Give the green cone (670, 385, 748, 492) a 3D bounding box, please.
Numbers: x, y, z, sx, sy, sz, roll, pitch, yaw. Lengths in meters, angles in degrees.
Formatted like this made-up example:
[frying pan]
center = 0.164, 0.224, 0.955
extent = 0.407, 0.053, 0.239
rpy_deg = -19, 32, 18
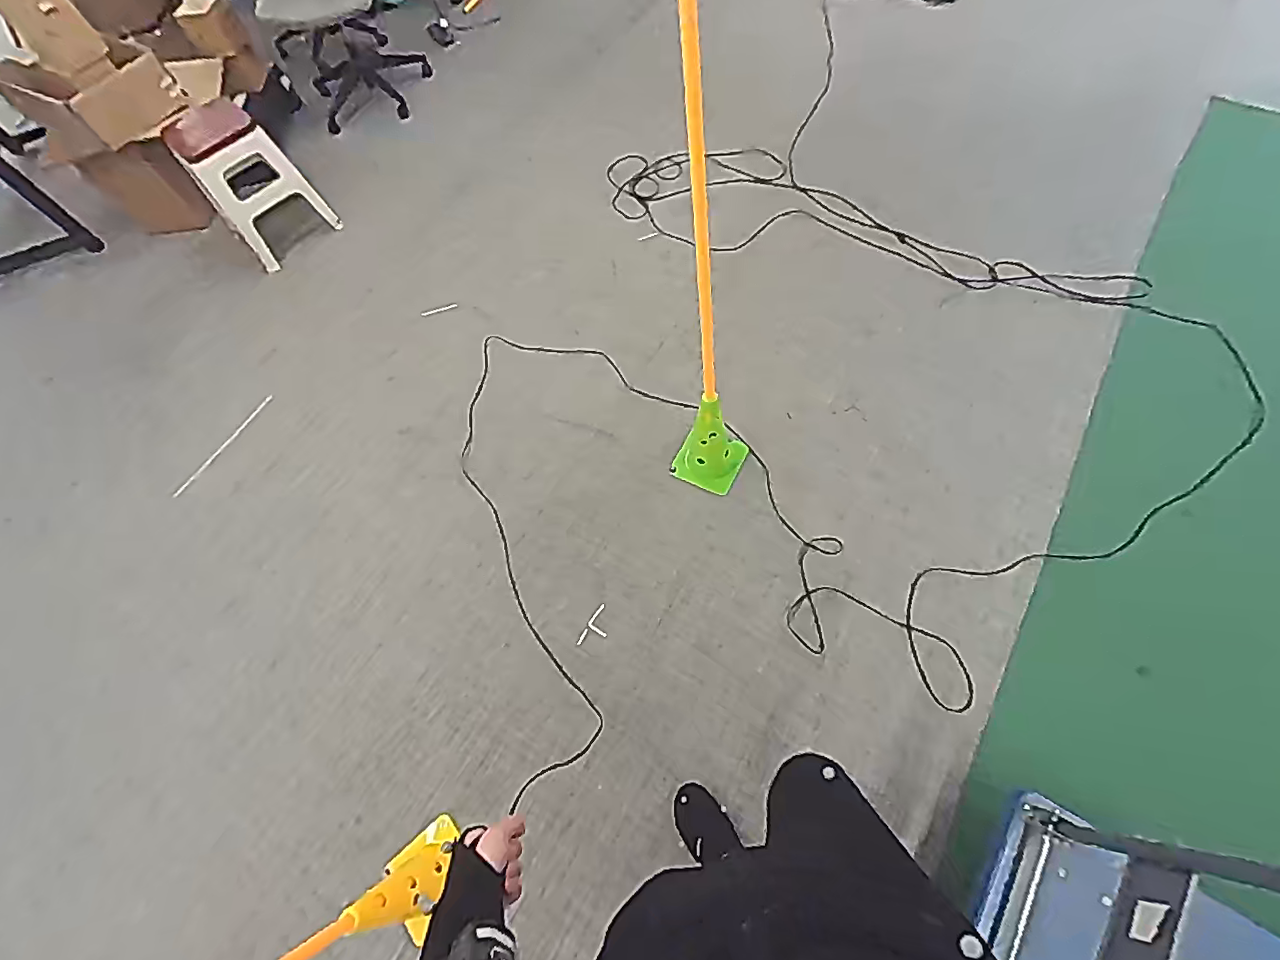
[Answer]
[green cone]
center = 0.203, -0.149, 1.571
extent = 0.200, 0.368, 0.202
rpy_deg = 23, 68, 17
